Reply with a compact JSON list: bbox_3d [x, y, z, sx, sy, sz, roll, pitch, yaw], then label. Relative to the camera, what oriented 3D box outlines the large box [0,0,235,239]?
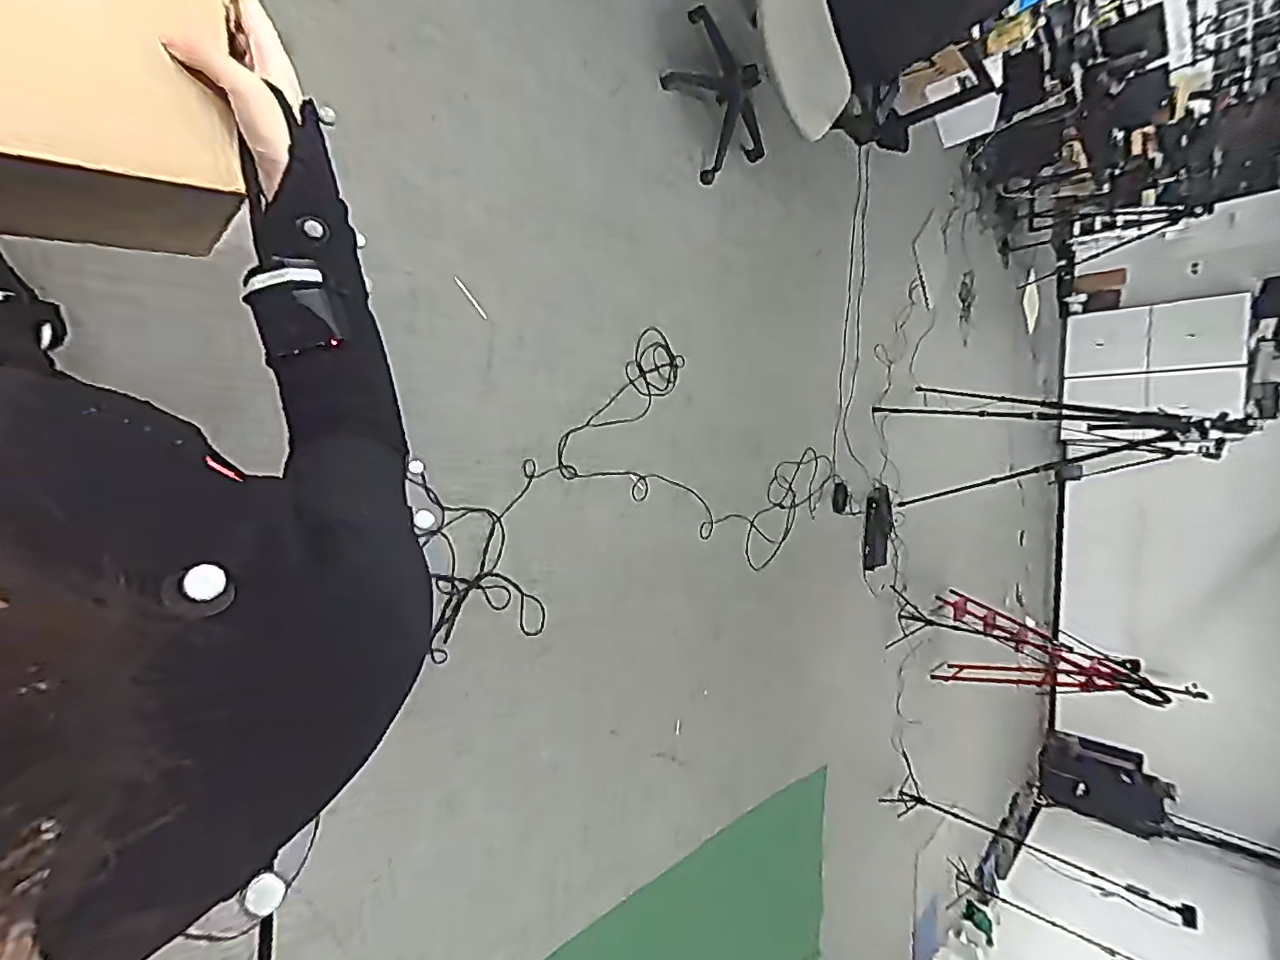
[{"bbox_3d":[-0.550,-0.366,0.356,0.408,0.320,0.320,-10,105,-40],"label":"large box"}]
